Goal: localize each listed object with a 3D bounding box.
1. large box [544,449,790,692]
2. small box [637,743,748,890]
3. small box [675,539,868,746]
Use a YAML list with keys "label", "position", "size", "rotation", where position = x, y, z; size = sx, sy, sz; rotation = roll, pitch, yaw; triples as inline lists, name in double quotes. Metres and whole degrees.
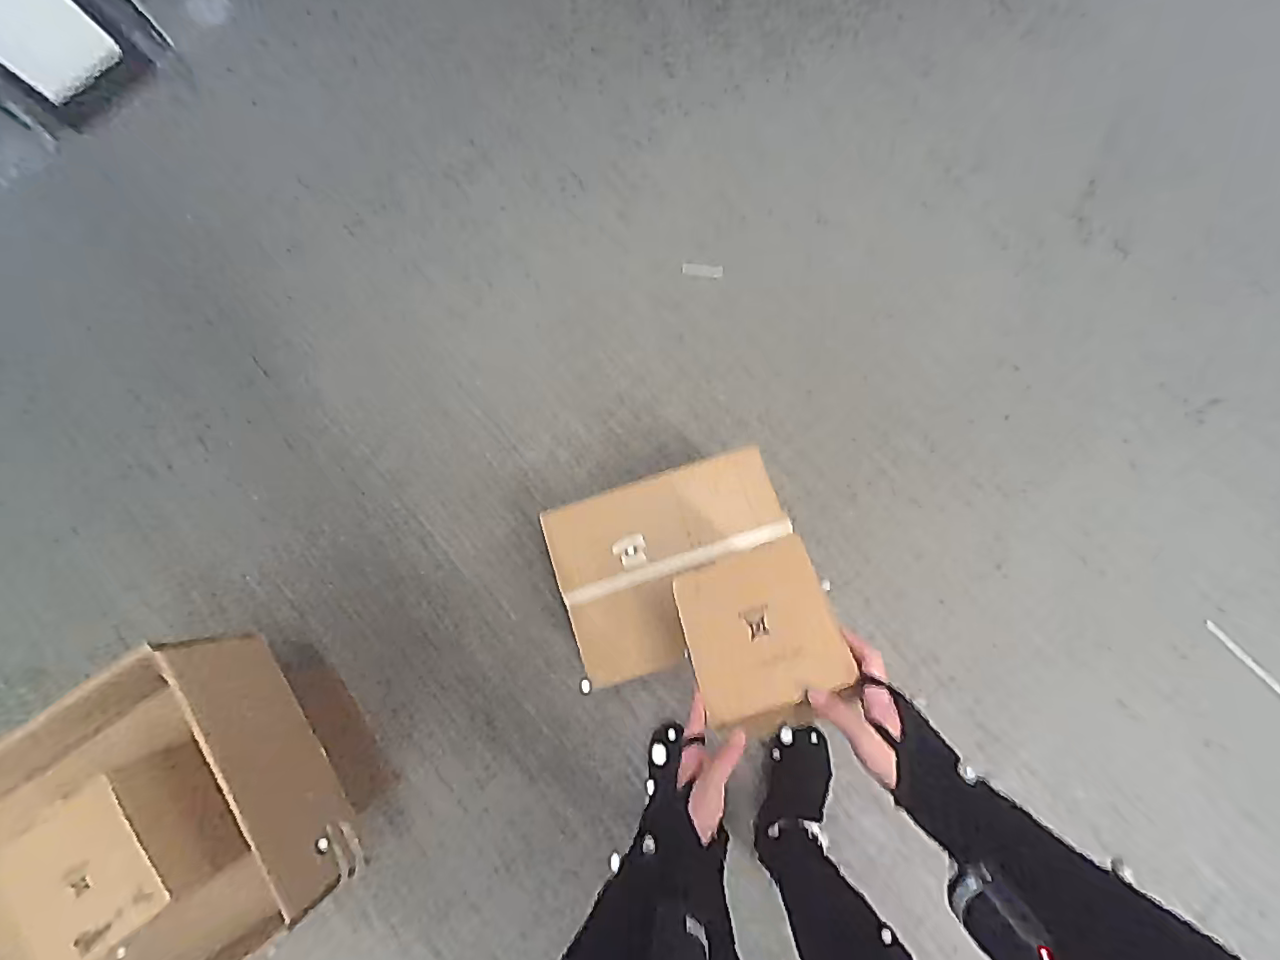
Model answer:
- label: "large box"
  position: [0.074, 0.170, 1.070]
  size: [0.408, 0.320, 0.320]
  rotation: [-18, 80, 1]
- label: "small box"
  position: [0.104, 0.659, 1.078]
  size: [0.179, 0.176, 0.168]
  rotation: [24, 80, 16]
- label: "small box"
  position: [0.157, 0.203, 0.656]
  size: [0.168, 0.176, 0.179]
  rotation: [-21, 54, 9]
